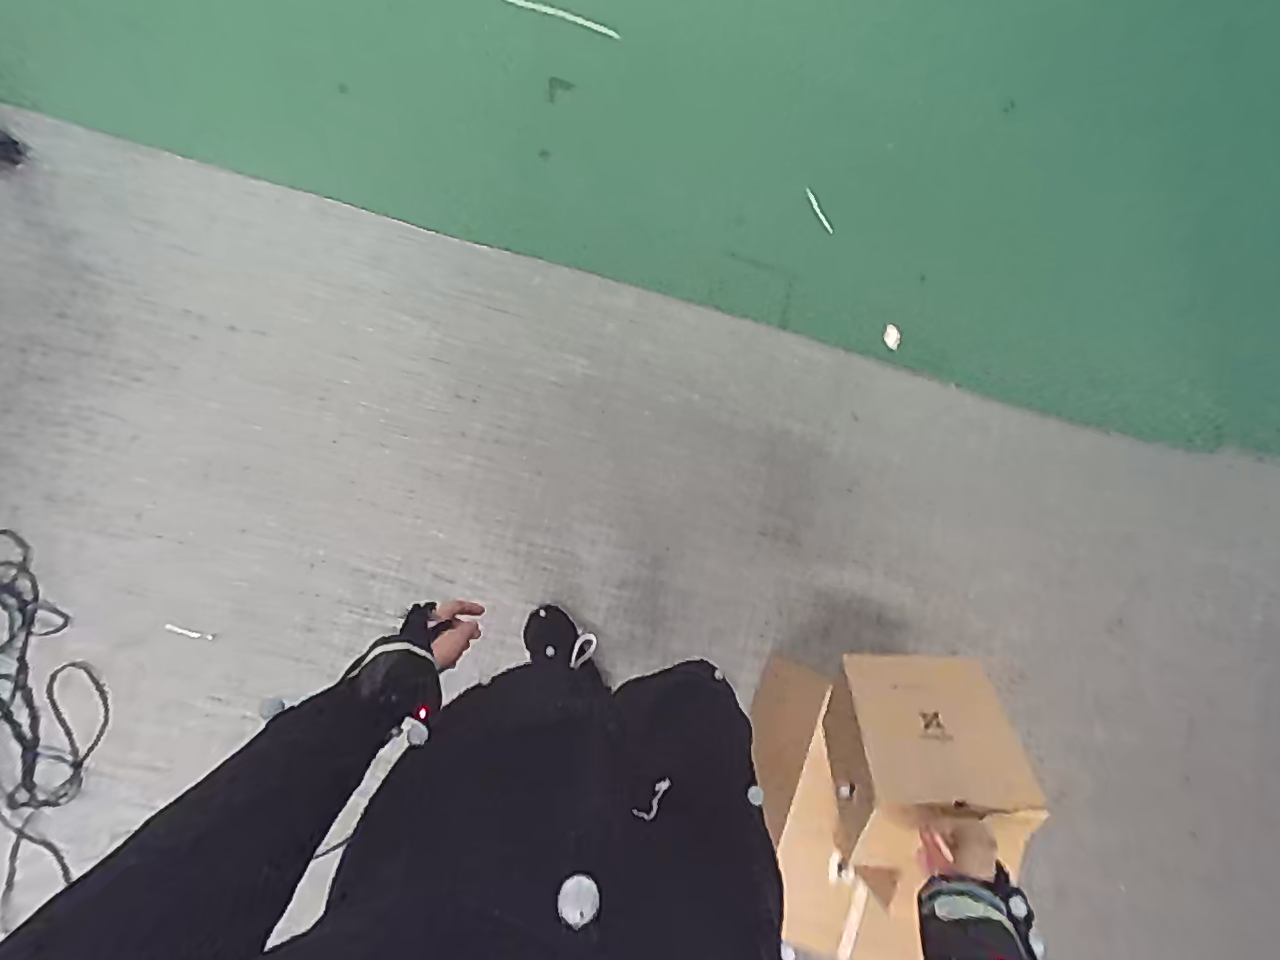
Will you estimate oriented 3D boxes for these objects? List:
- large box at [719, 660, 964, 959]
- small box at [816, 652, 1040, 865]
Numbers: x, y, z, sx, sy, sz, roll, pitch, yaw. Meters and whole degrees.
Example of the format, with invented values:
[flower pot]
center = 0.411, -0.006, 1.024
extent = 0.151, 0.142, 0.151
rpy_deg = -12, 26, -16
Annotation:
[large box]
center = 0.386, 0.618, 1.047
extent = 0.320, 0.320, 0.408
rpy_deg = 21, 82, -1
[small box]
center = 0.319, 0.329, 0.643
extent = 0.168, 0.179, 0.176
rpy_deg = 0, 126, 4
